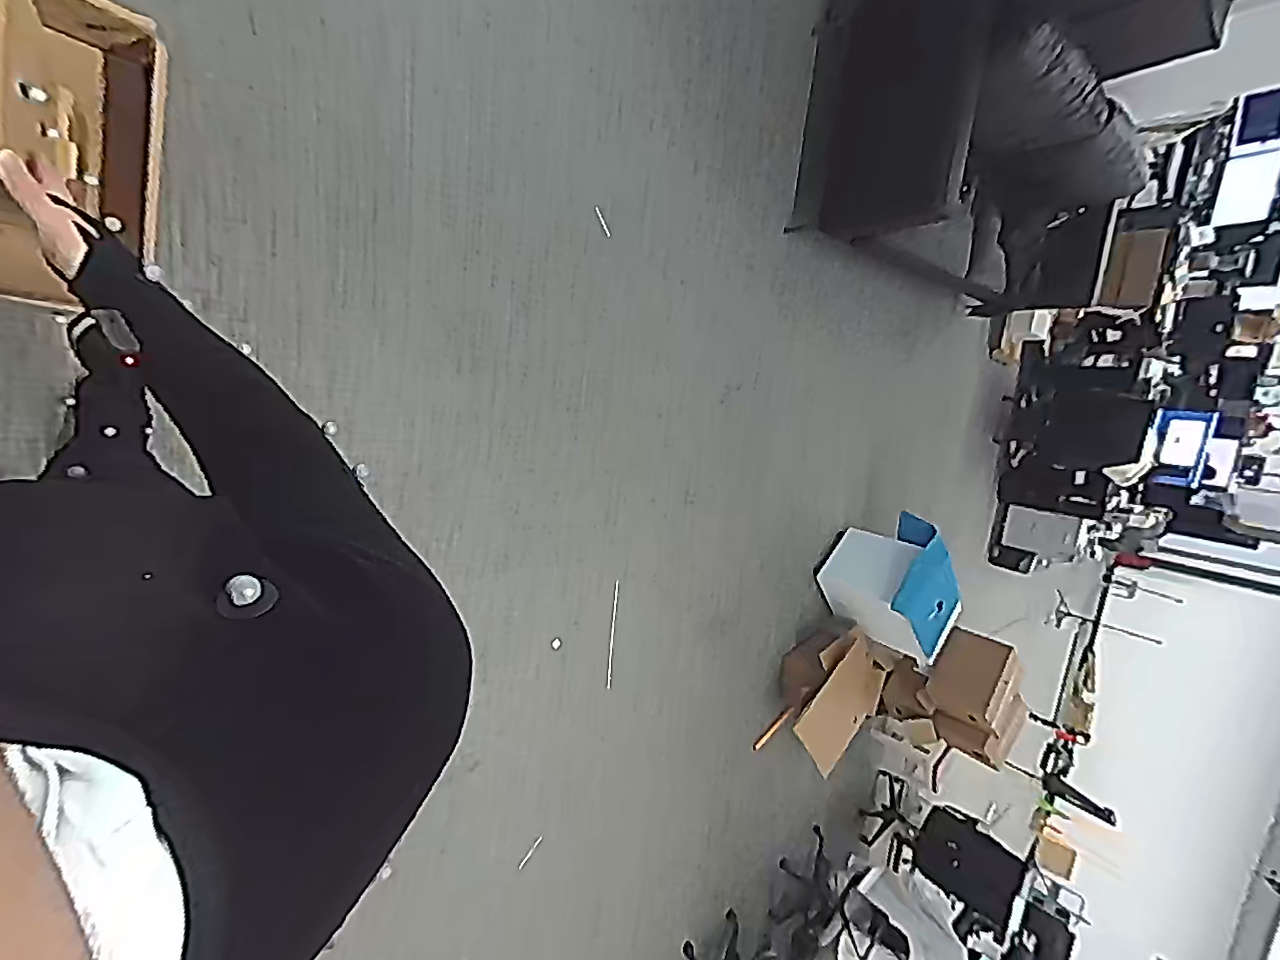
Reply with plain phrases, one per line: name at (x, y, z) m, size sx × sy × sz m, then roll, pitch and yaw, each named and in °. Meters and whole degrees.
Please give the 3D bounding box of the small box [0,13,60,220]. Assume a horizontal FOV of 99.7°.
small box at (-0.734, -0.392, 0.559) m, size 0.168 × 0.176 × 0.179 m, roll 4°, pitch 98°, yaw -42°
